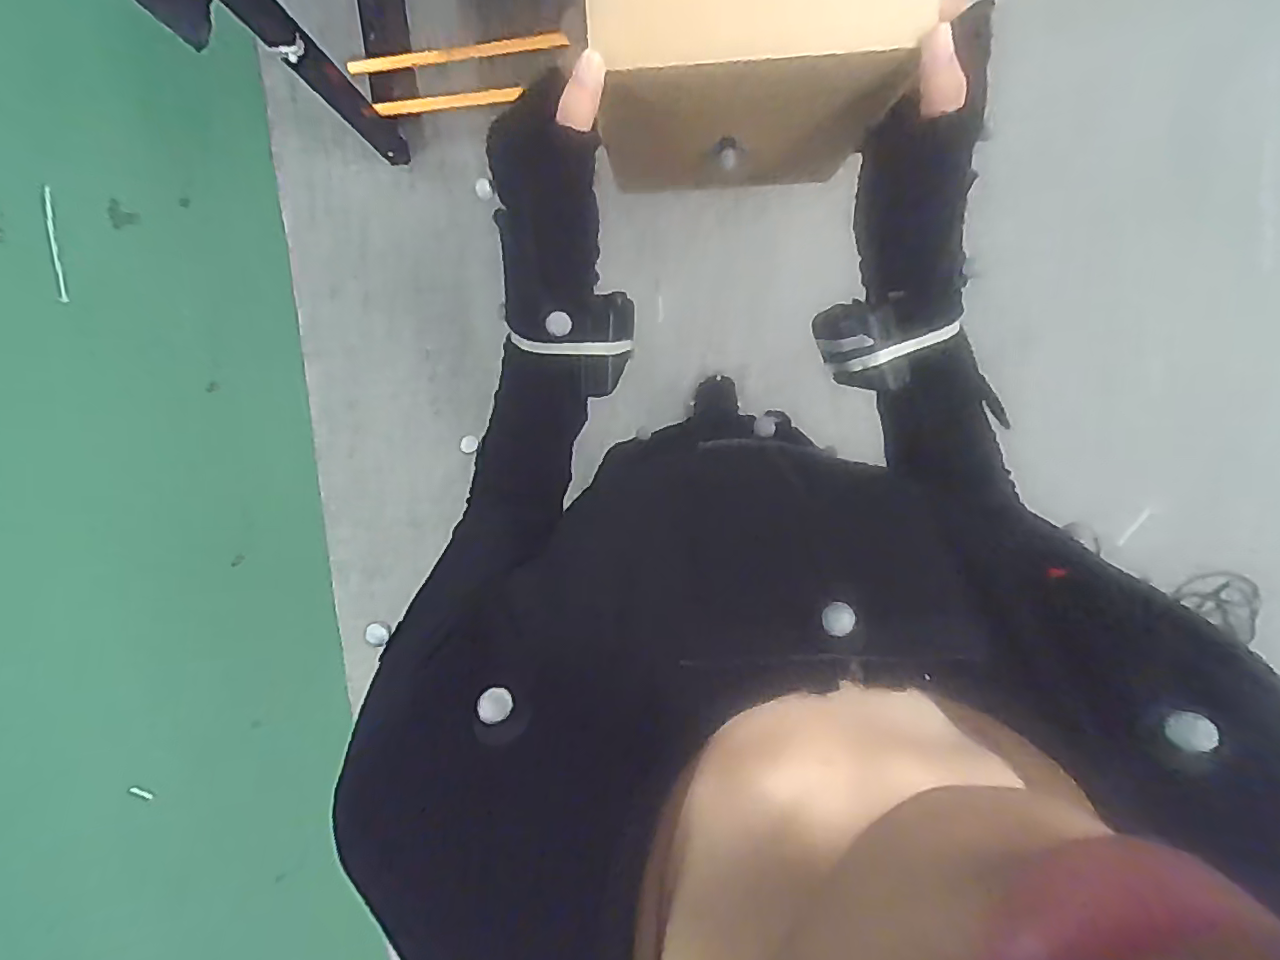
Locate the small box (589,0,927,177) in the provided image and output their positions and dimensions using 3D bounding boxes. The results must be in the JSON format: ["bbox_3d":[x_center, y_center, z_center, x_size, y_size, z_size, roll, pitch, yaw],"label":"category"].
[{"bbox_3d":[0.058,-0.306,0.331,0.168,0.176,0.179,-3,99,2],"label":"small box"}]
